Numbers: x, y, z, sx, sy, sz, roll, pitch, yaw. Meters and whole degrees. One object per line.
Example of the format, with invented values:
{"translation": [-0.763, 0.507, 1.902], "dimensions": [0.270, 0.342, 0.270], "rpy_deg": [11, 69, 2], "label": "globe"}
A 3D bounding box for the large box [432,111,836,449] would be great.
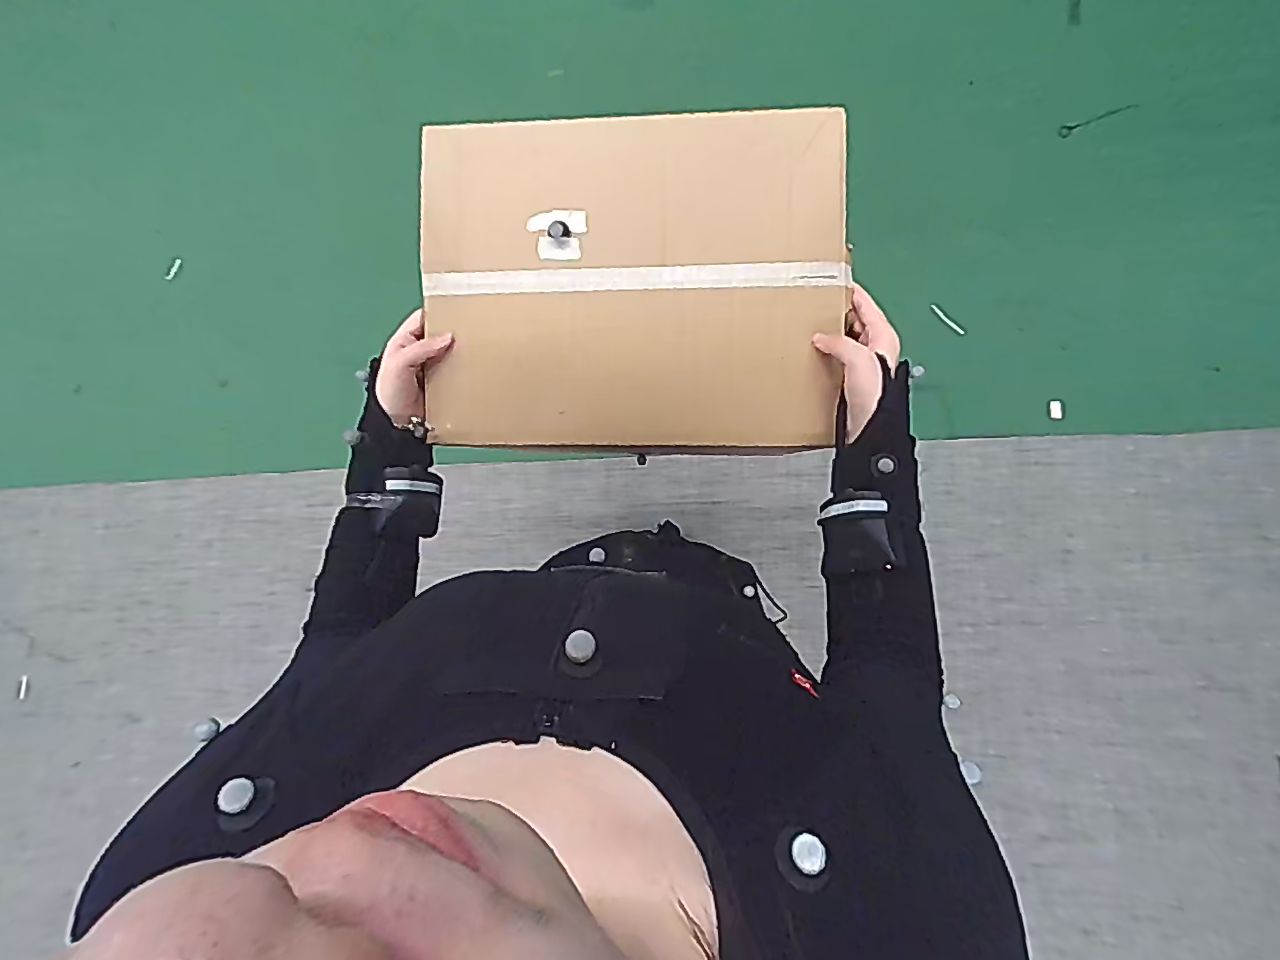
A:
{"translation": [0.005, -0.196, 0.678], "dimensions": [0.408, 0.320, 0.320], "rpy_deg": [0, 91, 6], "label": "large box"}
